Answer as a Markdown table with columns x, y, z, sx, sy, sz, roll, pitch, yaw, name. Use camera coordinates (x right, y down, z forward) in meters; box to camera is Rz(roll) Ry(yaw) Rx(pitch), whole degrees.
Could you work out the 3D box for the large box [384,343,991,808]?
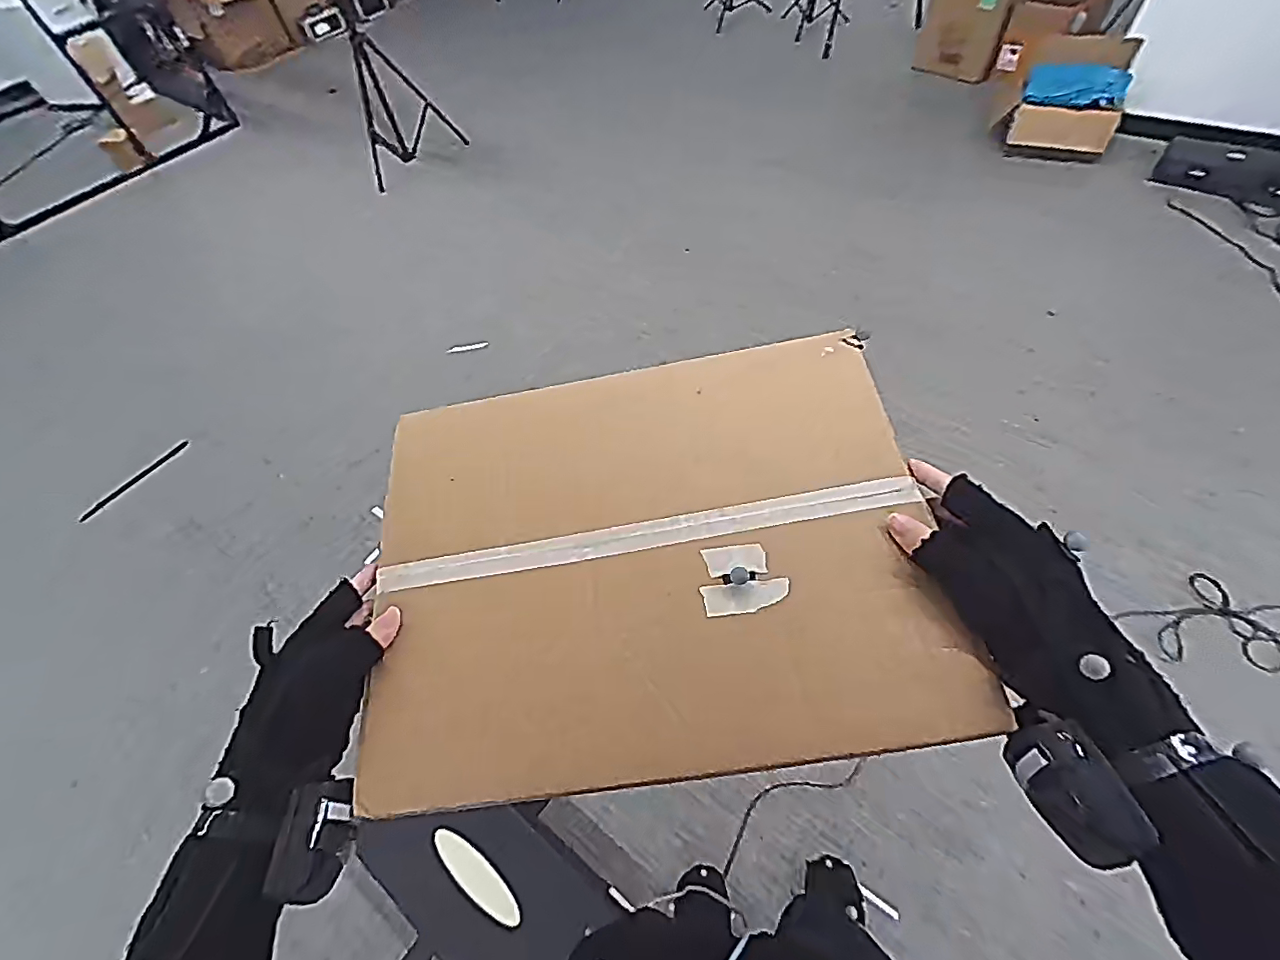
| x | y | z | sx | sy | sz | roll | pitch | yaw | name |
| --- | --- | --- | --- | --- | --- | --- | --- | --- | --- |
| 0.024 | 0.116 | 0.545 | 0.408 | 0.320 | 0.320 | -10 | 61 | 3 | large box |
